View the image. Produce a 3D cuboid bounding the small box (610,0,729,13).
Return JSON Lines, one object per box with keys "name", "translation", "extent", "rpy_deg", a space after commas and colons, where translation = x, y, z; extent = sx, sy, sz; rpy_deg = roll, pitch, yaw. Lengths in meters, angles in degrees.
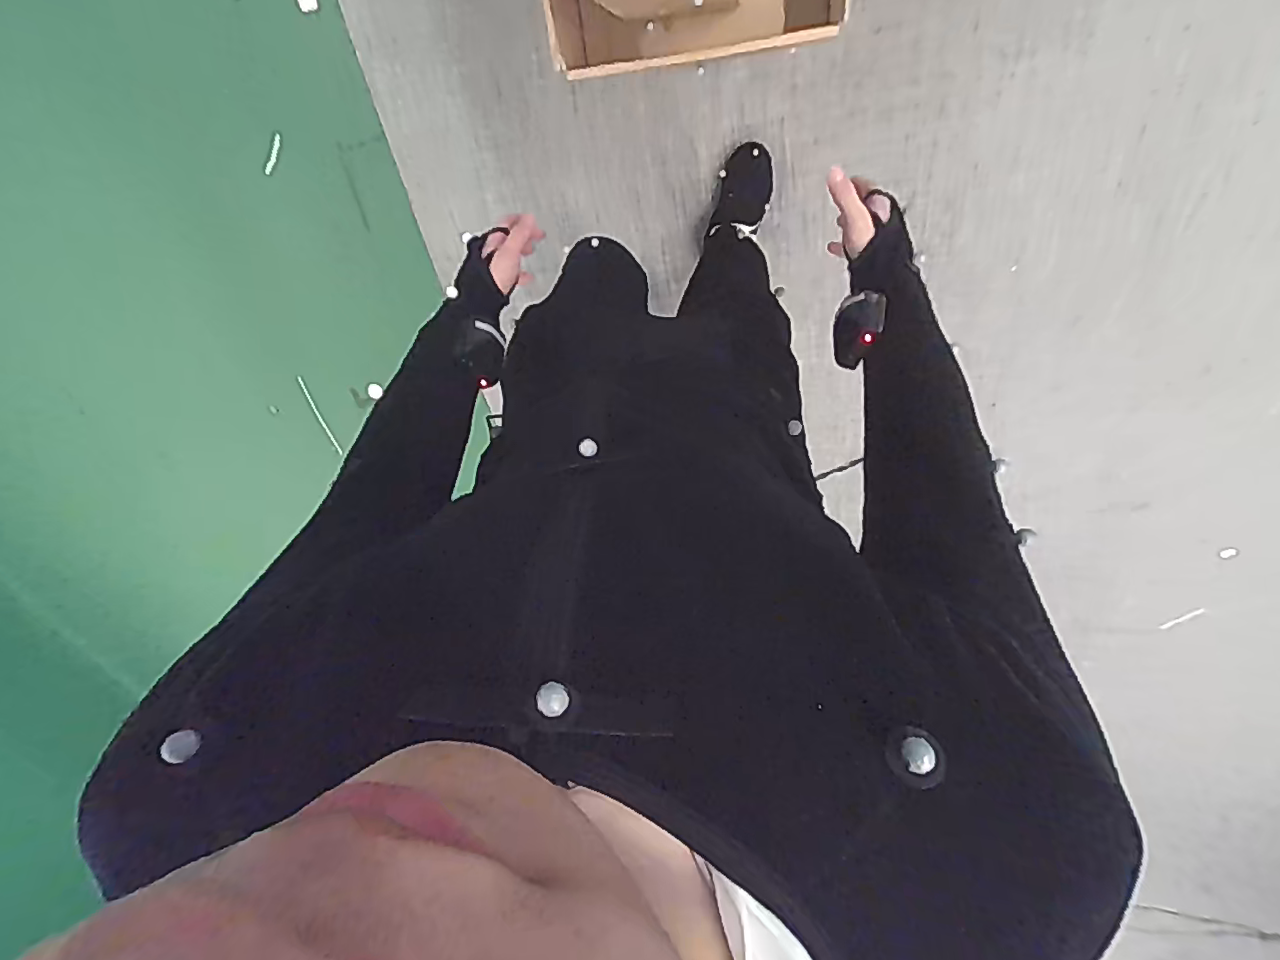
{"name": "small box", "translation": [0.045, -0.720, 0.686], "extent": [0.168, 0.176, 0.179], "rpy_deg": [0, 124, 12]}
